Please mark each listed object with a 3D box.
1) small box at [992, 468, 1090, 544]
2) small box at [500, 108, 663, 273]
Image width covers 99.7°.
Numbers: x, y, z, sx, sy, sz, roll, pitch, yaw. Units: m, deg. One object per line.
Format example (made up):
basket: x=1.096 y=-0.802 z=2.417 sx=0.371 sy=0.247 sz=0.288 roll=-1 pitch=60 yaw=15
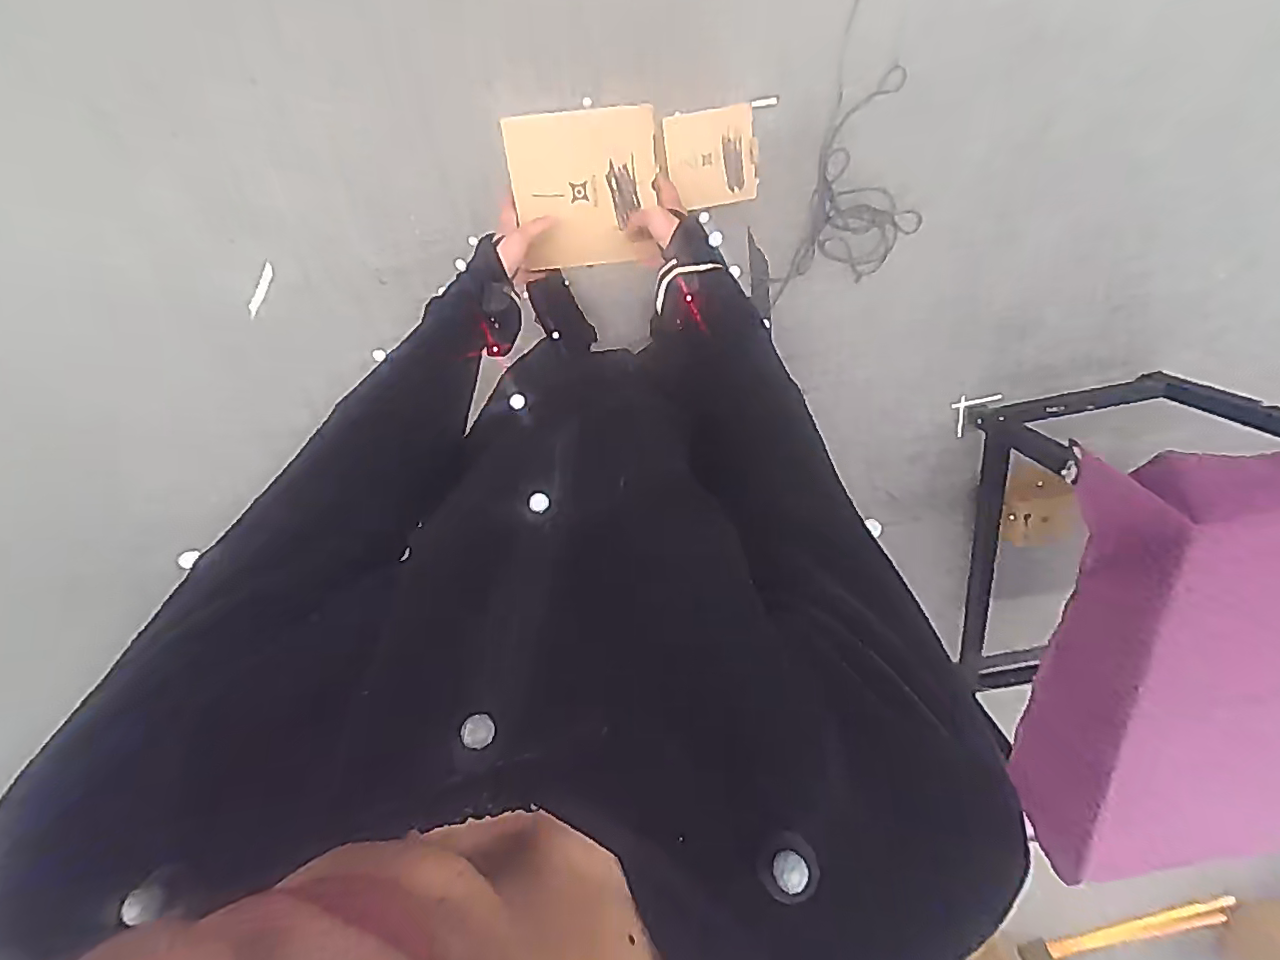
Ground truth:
small box: x=1.261 y=0.076 z=1.711 sx=0.179 sy=0.176 sz=0.168 roll=-12 pitch=115 yaw=3
small box: x=-0.069 y=-0.380 z=0.707 sx=0.179 sy=0.176 sz=0.168 roll=-6 pitch=122 yaw=0
